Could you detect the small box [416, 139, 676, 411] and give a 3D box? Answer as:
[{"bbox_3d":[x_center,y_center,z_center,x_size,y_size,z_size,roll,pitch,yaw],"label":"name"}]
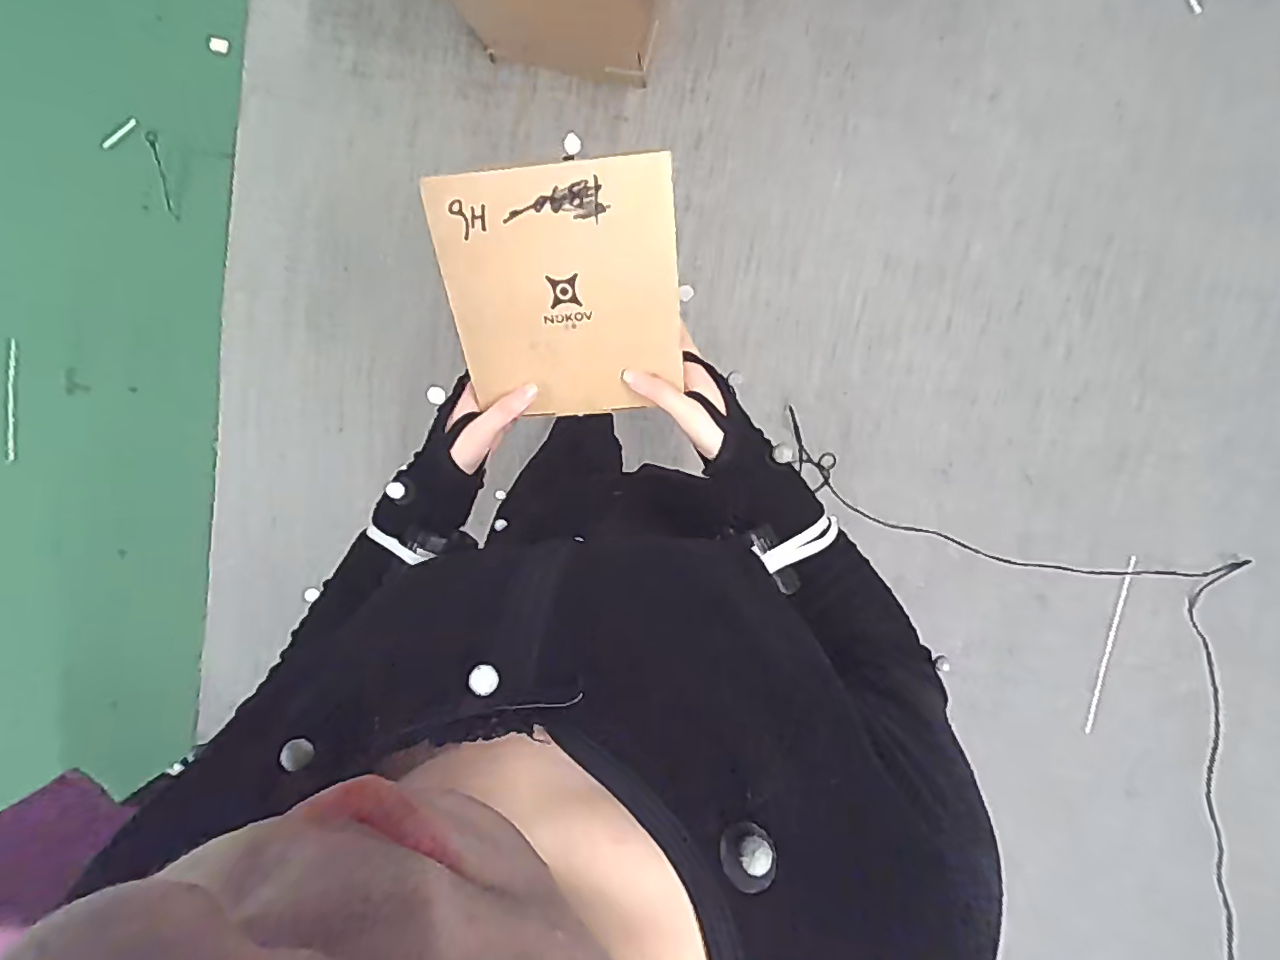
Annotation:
[{"bbox_3d":[-0.055,-0.176,0.456,0.168,0.176,0.179,-4,122,4],"label":"small box"}]
